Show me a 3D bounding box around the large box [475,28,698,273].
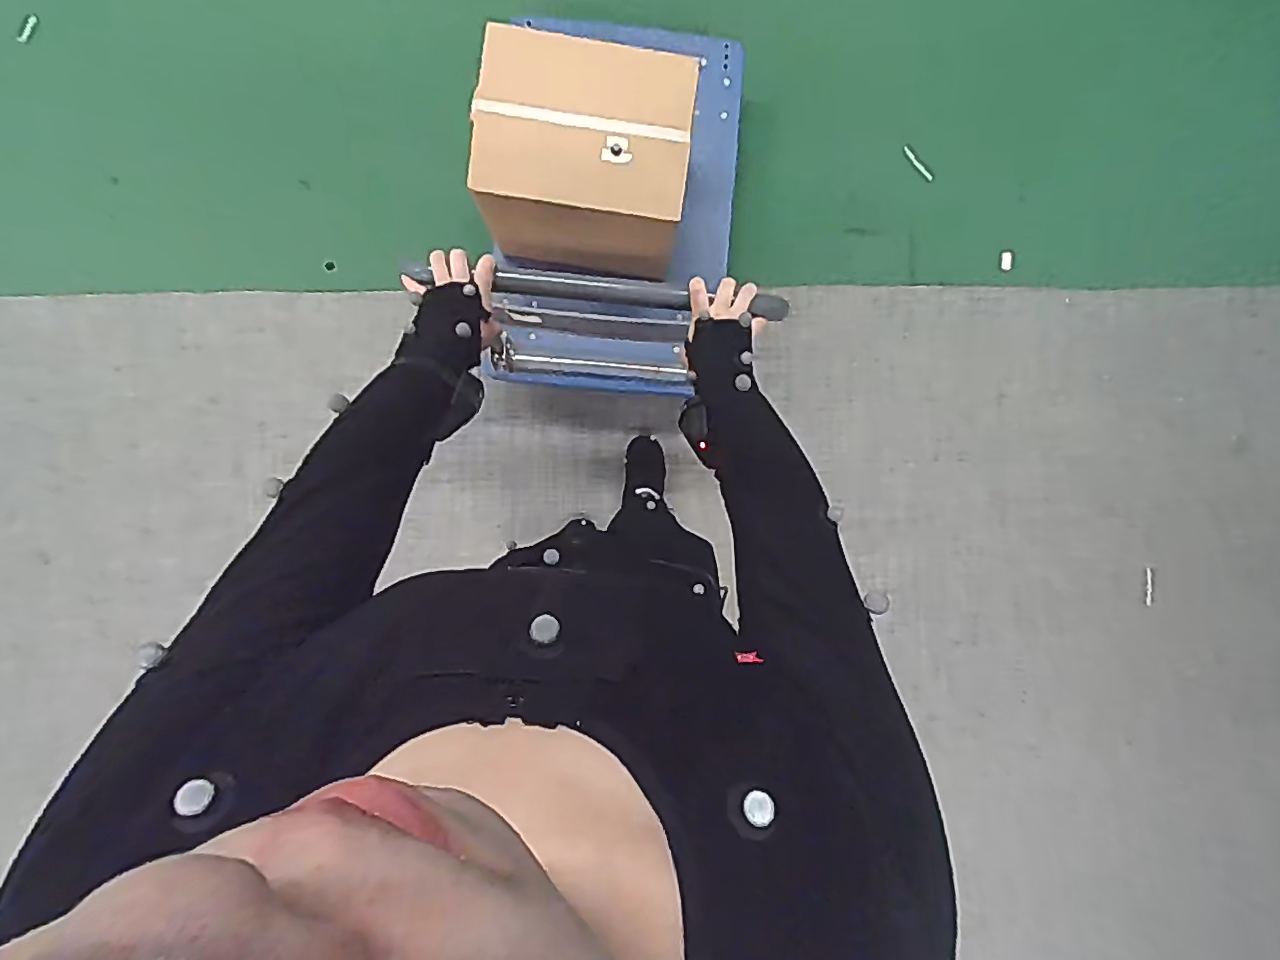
[{"bbox_3d":[-0.111,-0.680,1.176,0.408,0.320,0.320,7,91,-4],"label":"large box"}]
